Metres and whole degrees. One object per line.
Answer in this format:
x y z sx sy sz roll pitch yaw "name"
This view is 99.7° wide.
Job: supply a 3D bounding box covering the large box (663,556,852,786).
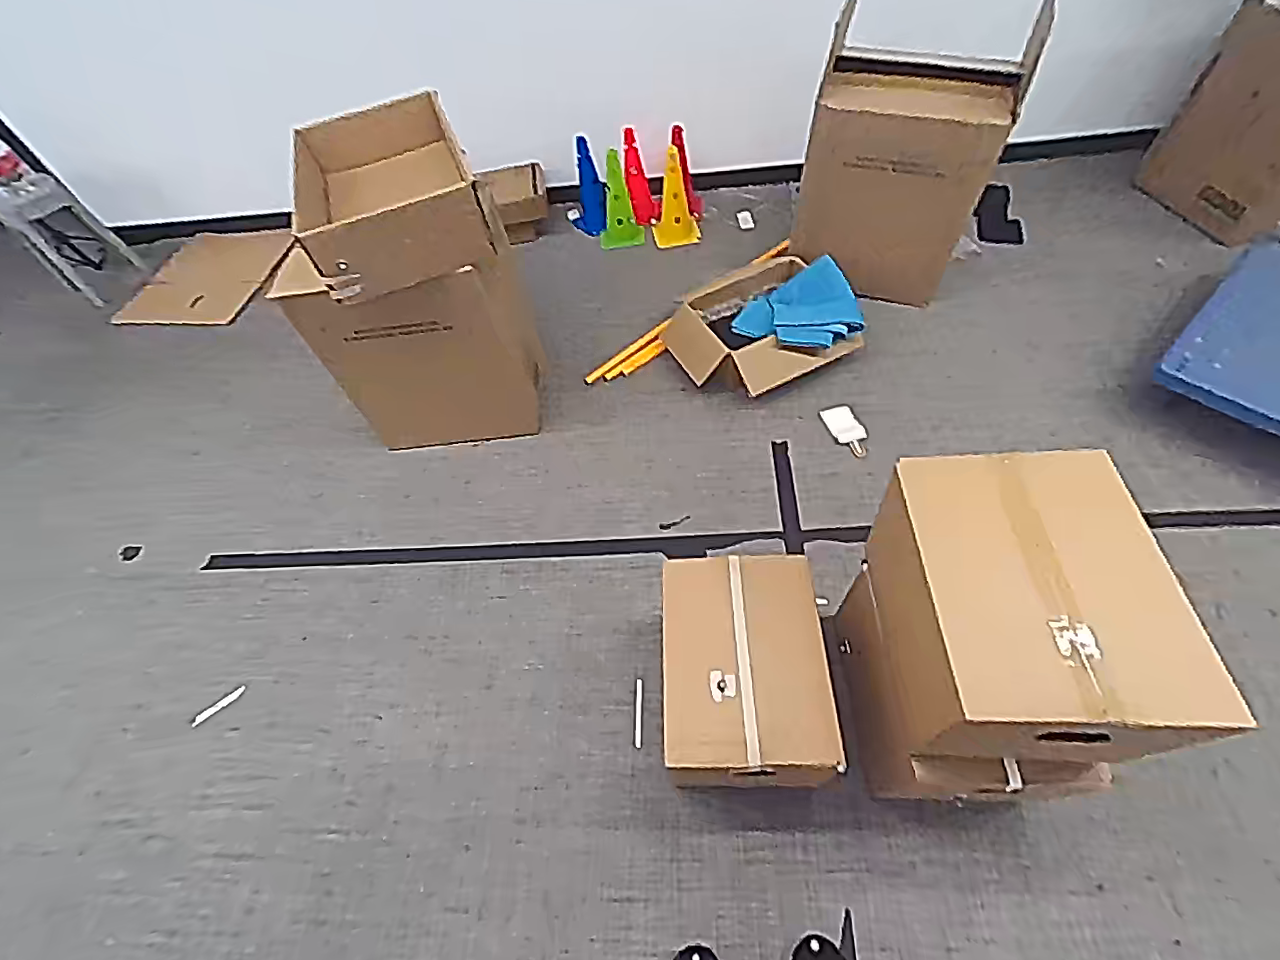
0.220 0.415 1.162 0.320 0.320 0.408 -4 55 5 "large box"
